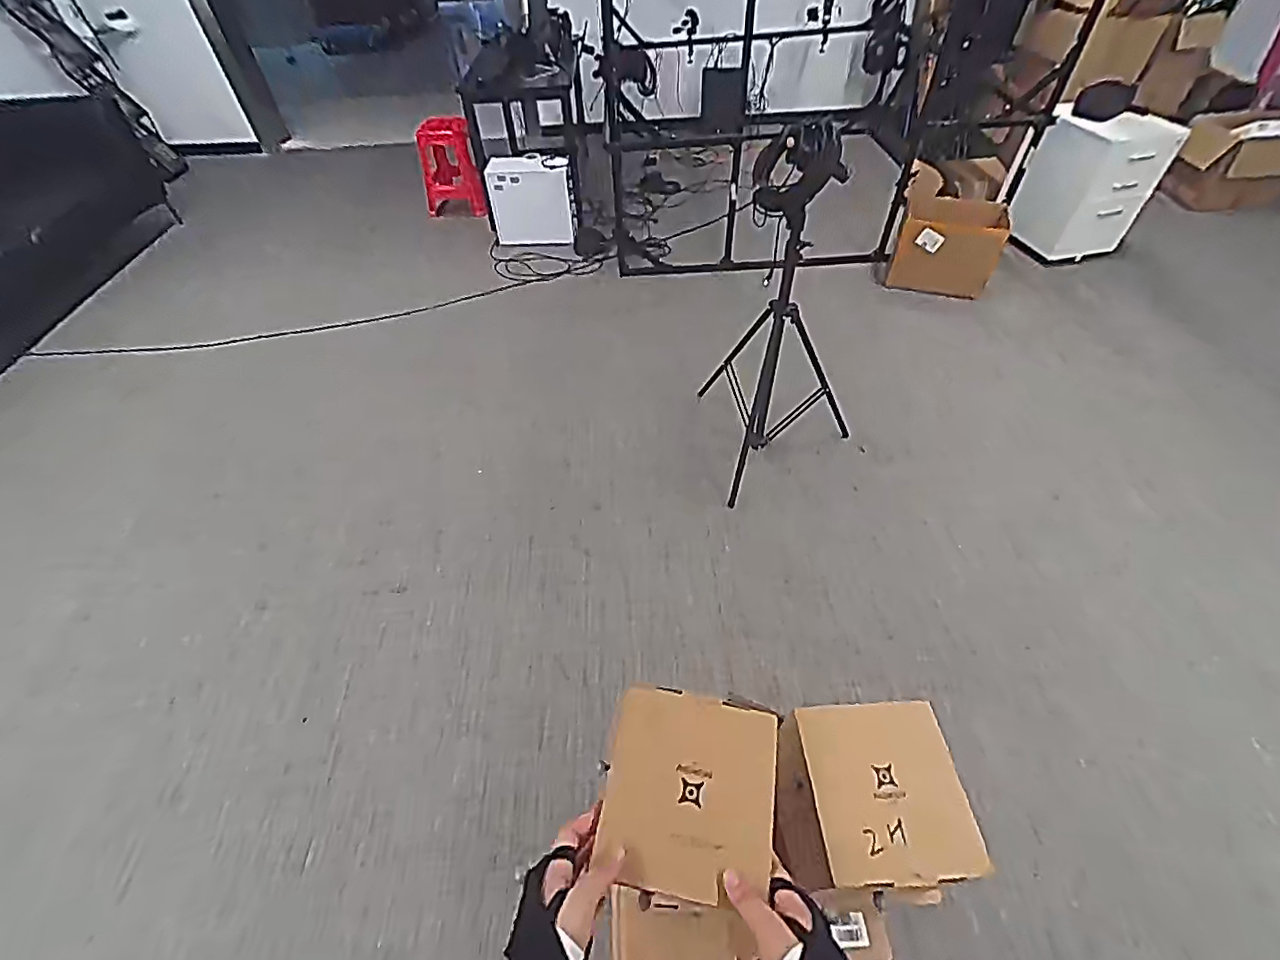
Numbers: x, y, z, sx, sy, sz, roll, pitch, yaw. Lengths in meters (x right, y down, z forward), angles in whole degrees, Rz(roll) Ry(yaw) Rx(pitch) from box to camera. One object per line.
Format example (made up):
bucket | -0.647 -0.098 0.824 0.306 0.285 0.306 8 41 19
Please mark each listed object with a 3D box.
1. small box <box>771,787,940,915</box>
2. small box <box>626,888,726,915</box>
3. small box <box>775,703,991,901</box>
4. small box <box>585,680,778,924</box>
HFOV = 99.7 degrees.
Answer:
small box | 0.281 0.502 0.767 0.168 0.176 0.179 0 51 0
small box | 0.071 0.505 0.770 0.168 0.176 0.179 -2 51 3
small box | 0.264 0.387 0.649 0.168 0.176 0.179 -2 50 -2
small box | 0.039 0.342 0.585 0.168 0.176 0.179 13 56 1
